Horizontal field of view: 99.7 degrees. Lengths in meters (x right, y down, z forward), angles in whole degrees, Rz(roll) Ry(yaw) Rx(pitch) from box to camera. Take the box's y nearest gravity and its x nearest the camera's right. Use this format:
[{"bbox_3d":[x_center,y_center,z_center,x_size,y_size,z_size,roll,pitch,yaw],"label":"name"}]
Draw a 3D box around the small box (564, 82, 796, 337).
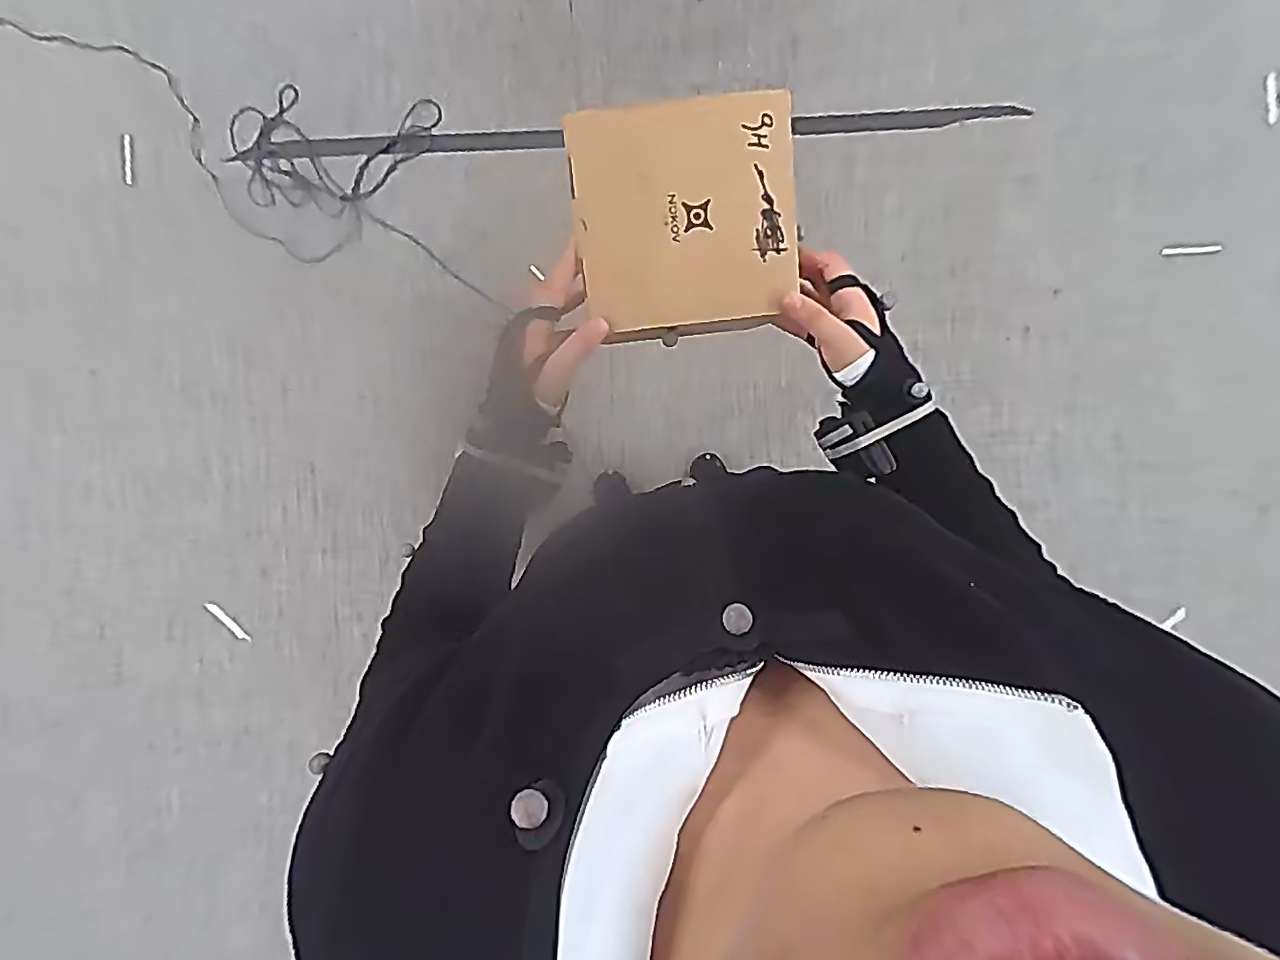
[{"bbox_3d":[0.034,-0.231,0.507,0.179,0.176,0.168,-6,101,0],"label":"small box"}]
